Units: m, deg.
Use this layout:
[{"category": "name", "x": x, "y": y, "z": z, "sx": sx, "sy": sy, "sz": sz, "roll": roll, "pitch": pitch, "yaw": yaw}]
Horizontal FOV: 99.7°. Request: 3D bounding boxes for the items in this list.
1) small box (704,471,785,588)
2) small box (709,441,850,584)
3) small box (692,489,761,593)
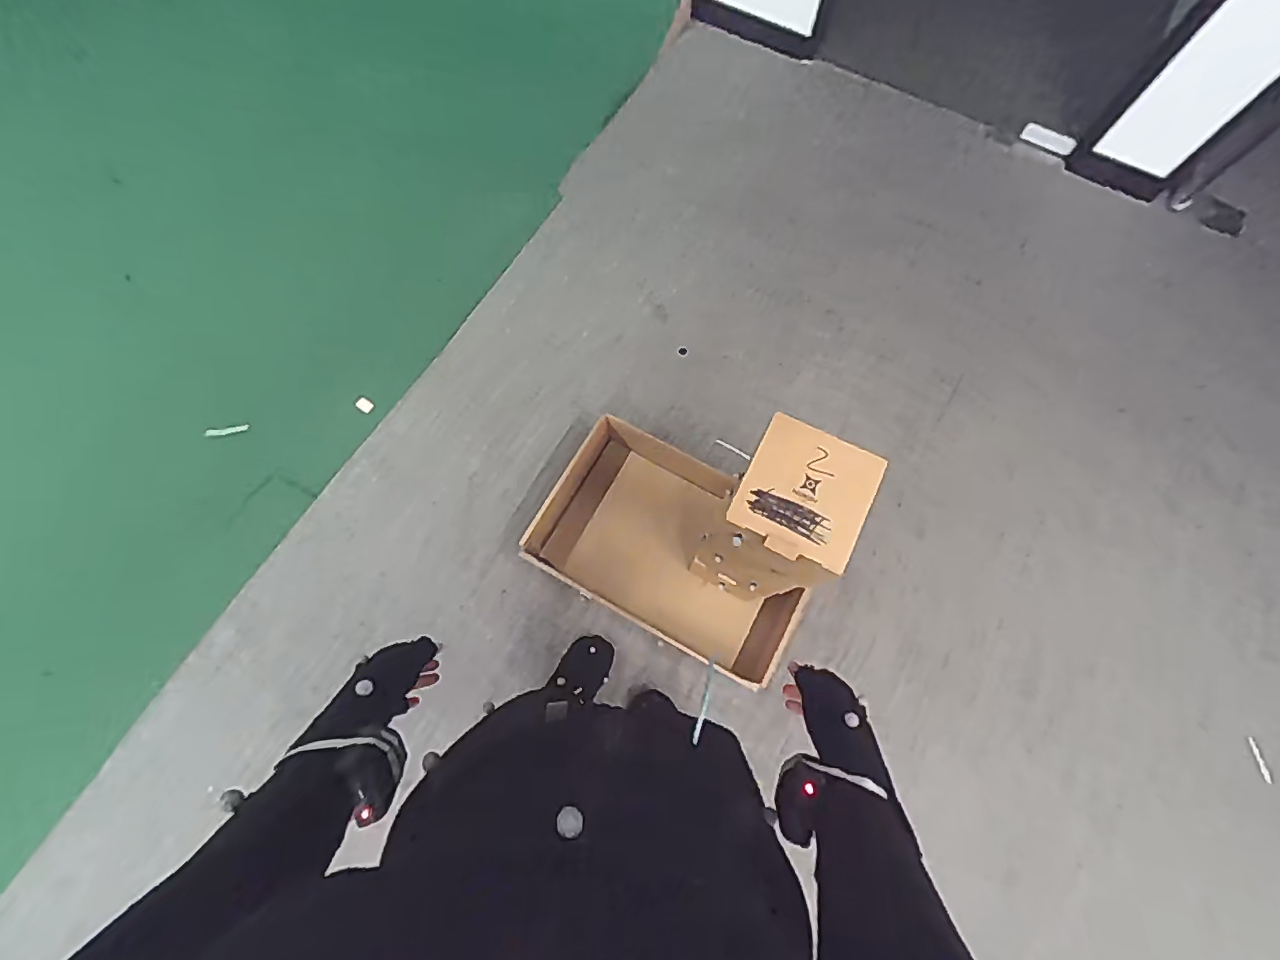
[{"category": "small box", "x": 0.240, "y": 0.104, "z": 1.093, "sx": 0.168, "sy": 0.176, "sz": 0.179, "roll": 29, "pitch": 76, "yaw": 9}, {"category": "small box", "x": 0.234, "y": 0.066, "z": 0.951, "sx": 0.168, "sy": 0.176, "sz": 0.179, "roll": 30, "pitch": 76, "yaw": 8}, {"category": "small box", "x": 0.230, "y": 0.151, "z": 1.269, "sx": 0.168, "sy": 0.176, "sz": 0.179, "roll": 24, "pitch": 74, "yaw": 9}]
